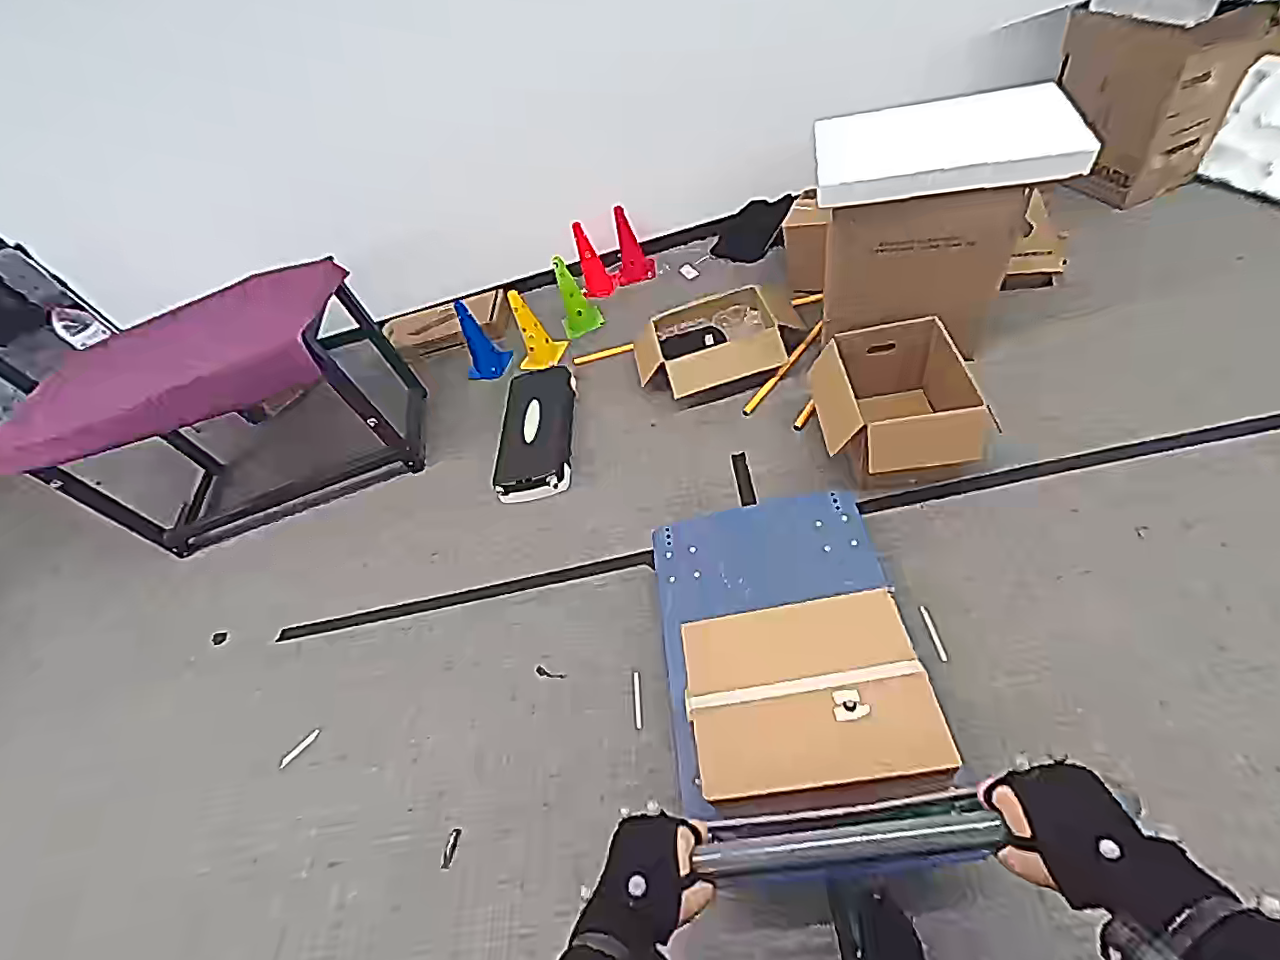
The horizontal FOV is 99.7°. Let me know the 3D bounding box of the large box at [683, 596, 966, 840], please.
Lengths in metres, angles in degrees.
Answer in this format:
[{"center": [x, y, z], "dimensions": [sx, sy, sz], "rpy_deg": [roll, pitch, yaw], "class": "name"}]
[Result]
[{"center": [0.320, 0.465, 1.038], "dimensions": [0.408, 0.320, 0.320], "rpy_deg": [-12, 49, 7], "class": "large box"}]
